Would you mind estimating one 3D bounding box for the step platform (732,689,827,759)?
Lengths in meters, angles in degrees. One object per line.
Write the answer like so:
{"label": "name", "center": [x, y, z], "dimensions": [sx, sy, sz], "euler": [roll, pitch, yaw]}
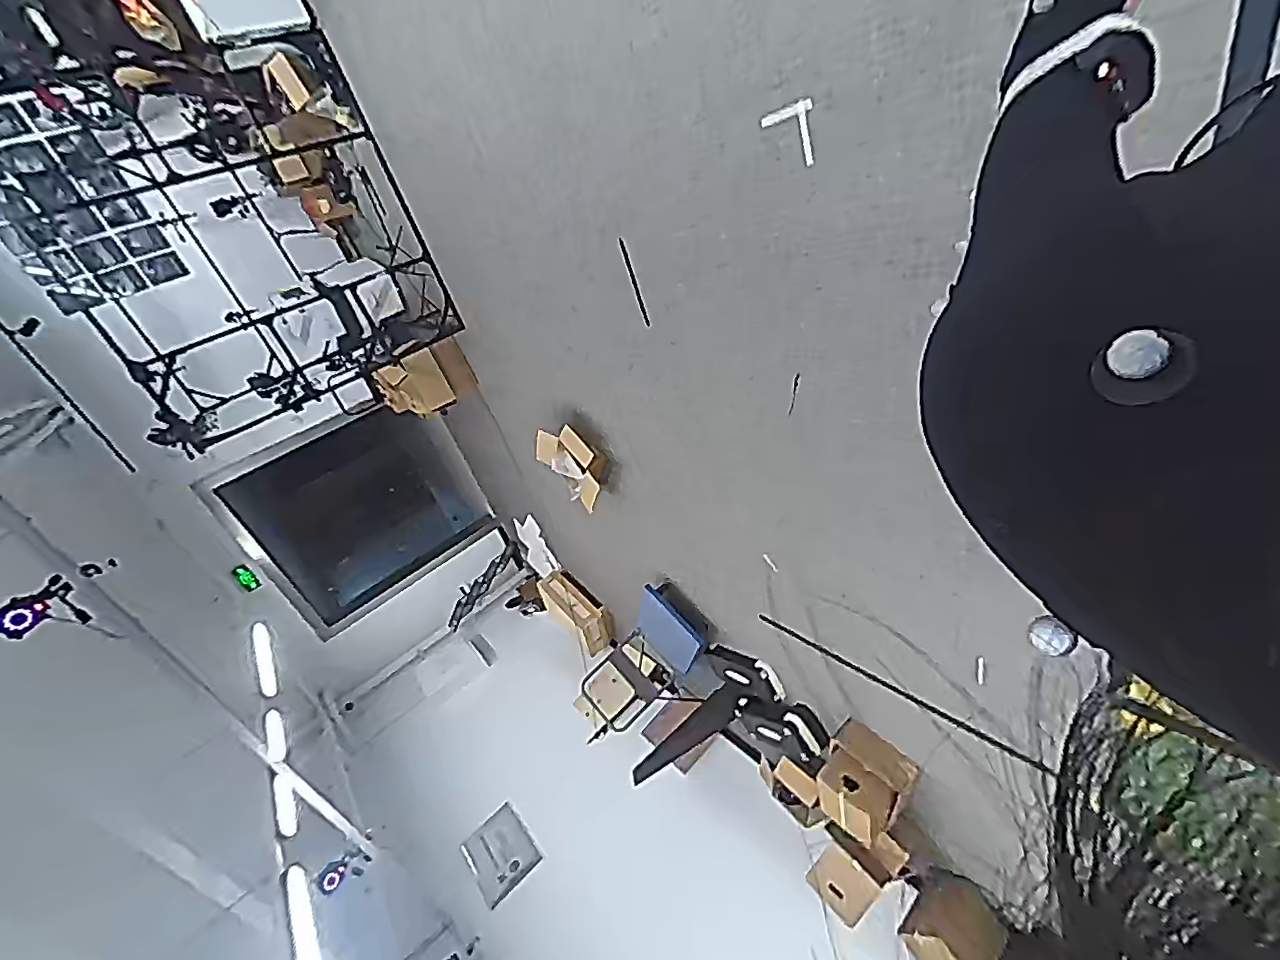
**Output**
{"label": "step platform", "center": [0.912, 1.628, 3.624], "dimensions": [0.286, 0.204, 0.684], "euler": [56, 154, -3]}
